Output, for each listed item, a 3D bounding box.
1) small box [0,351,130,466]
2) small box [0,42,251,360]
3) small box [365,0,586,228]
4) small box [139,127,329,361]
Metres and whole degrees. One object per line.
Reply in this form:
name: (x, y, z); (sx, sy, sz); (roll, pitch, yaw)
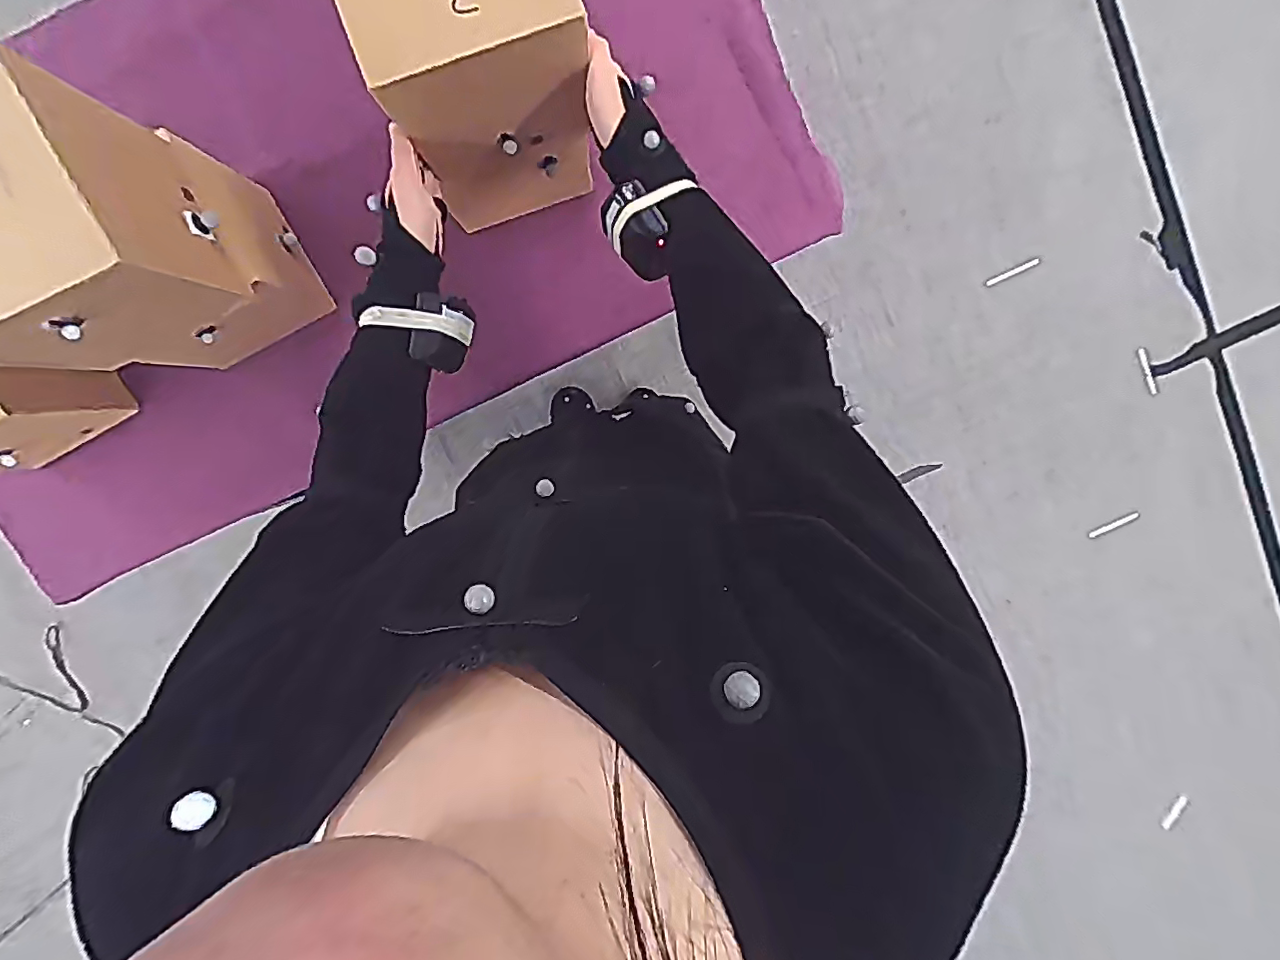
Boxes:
small box: (-0.776, -0.119, 0.633); (0.168, 0.176, 0.179); (-29, 98, 2)
small box: (-0.499, -0.213, 0.466); (0.179, 0.176, 0.168); (-25, 100, 0)
small box: (-0.166, -0.415, 0.613); (0.179, 0.176, 0.168); (-18, 98, 1)
small box: (-0.511, -0.249, 0.624); (0.179, 0.176, 0.168); (-28, 99, 1)
